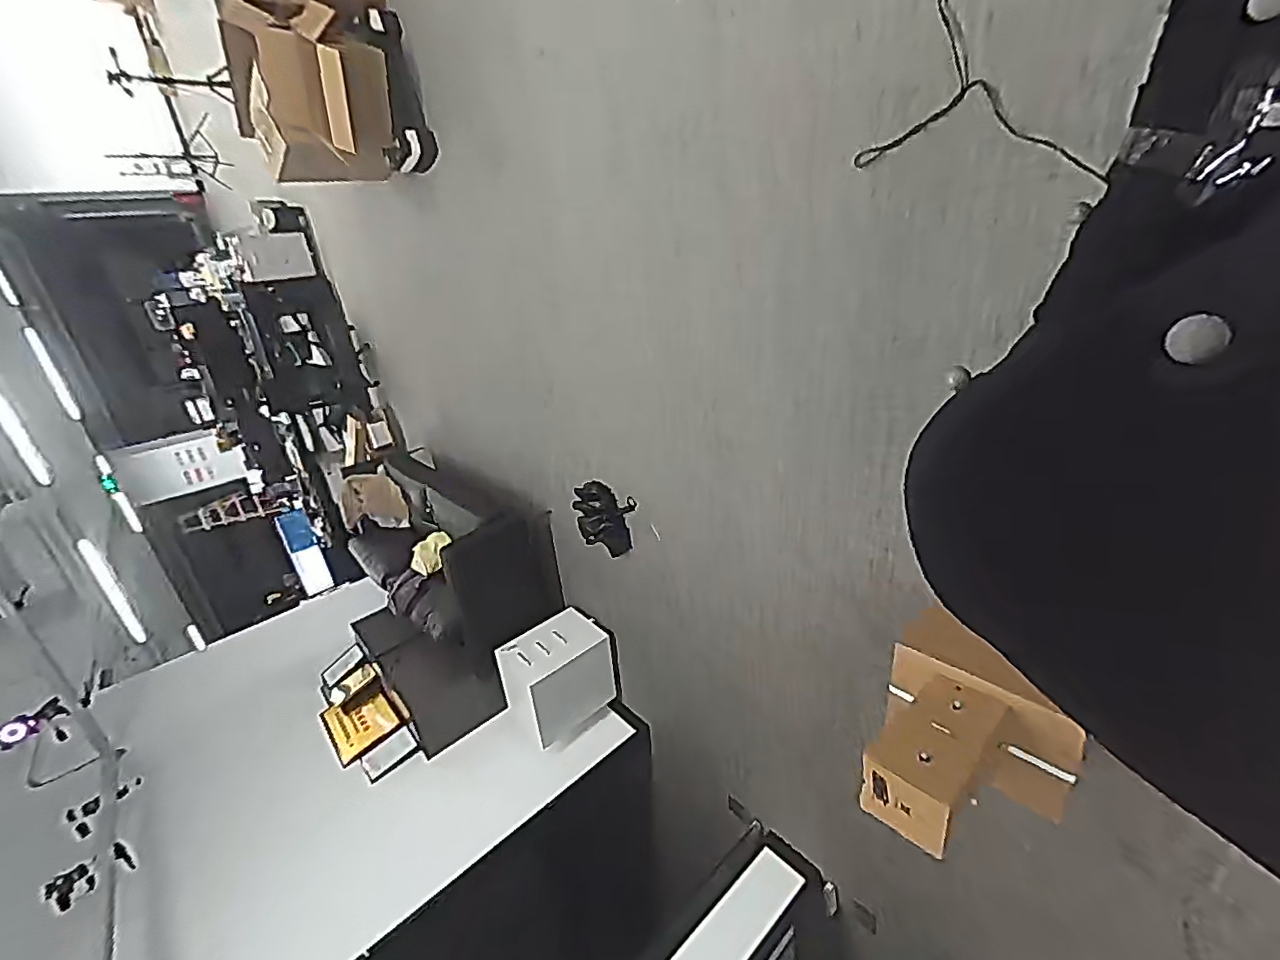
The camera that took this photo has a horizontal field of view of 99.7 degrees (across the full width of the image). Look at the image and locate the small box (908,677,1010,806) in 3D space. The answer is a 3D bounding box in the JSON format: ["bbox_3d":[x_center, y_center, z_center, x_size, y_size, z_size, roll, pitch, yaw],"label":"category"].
[{"bbox_3d":[0.738,0.597,1.261,0.168,0.176,0.179,17,122,47],"label":"small box"}]

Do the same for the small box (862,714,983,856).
[{"bbox_3d":[0.608,0.644,1.171,0.179,0.176,0.168,17,122,49],"label":"small box"}]
